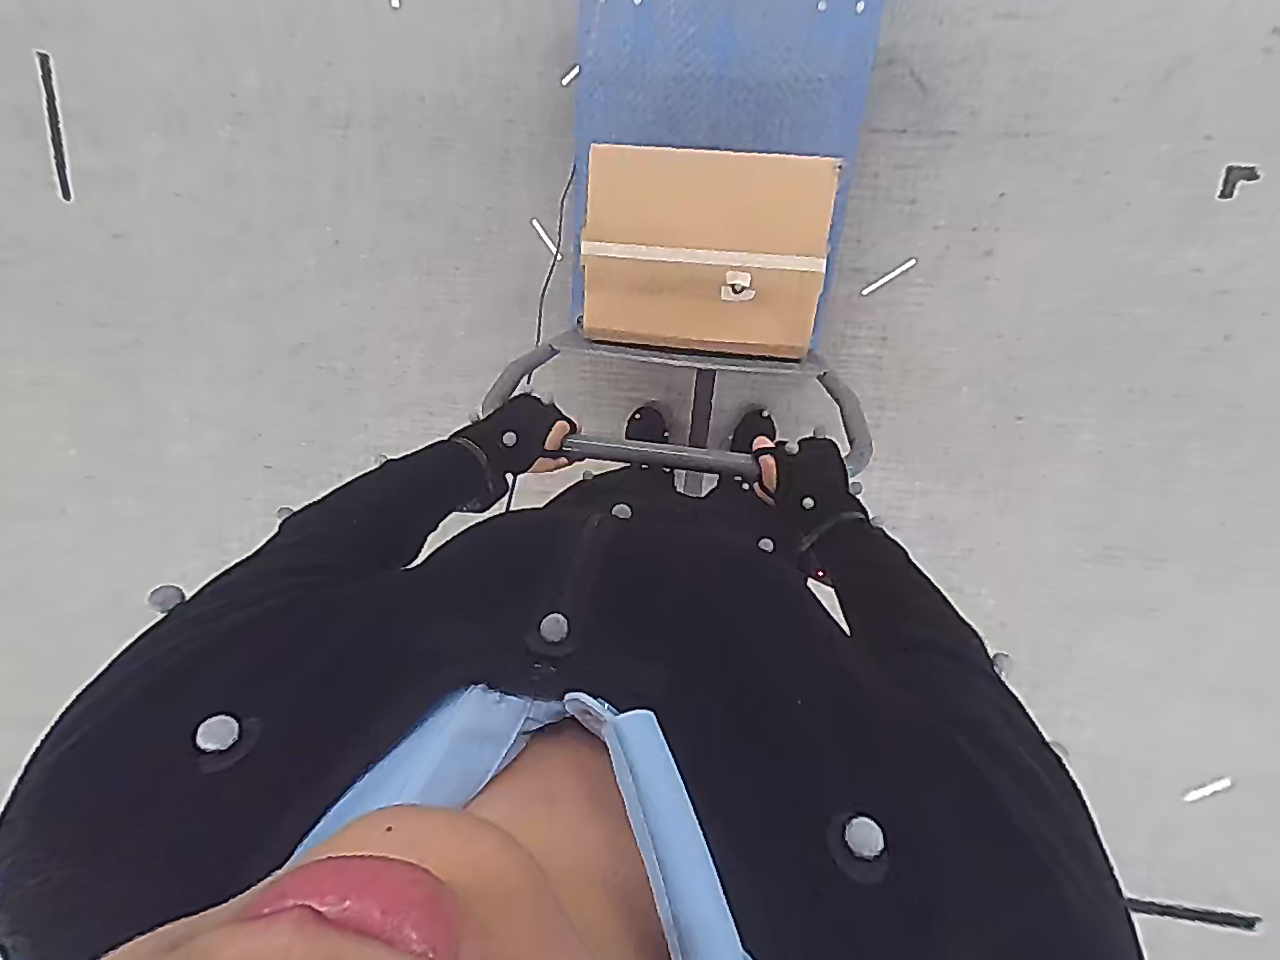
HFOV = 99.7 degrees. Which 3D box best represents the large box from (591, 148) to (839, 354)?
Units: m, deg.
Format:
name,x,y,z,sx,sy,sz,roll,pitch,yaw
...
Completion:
name,x,y,z,sx,sy,sz,roll,pitch,yaw
large box,0.128,-0.437,1.068,0.408,0.320,0.320,6,112,5
